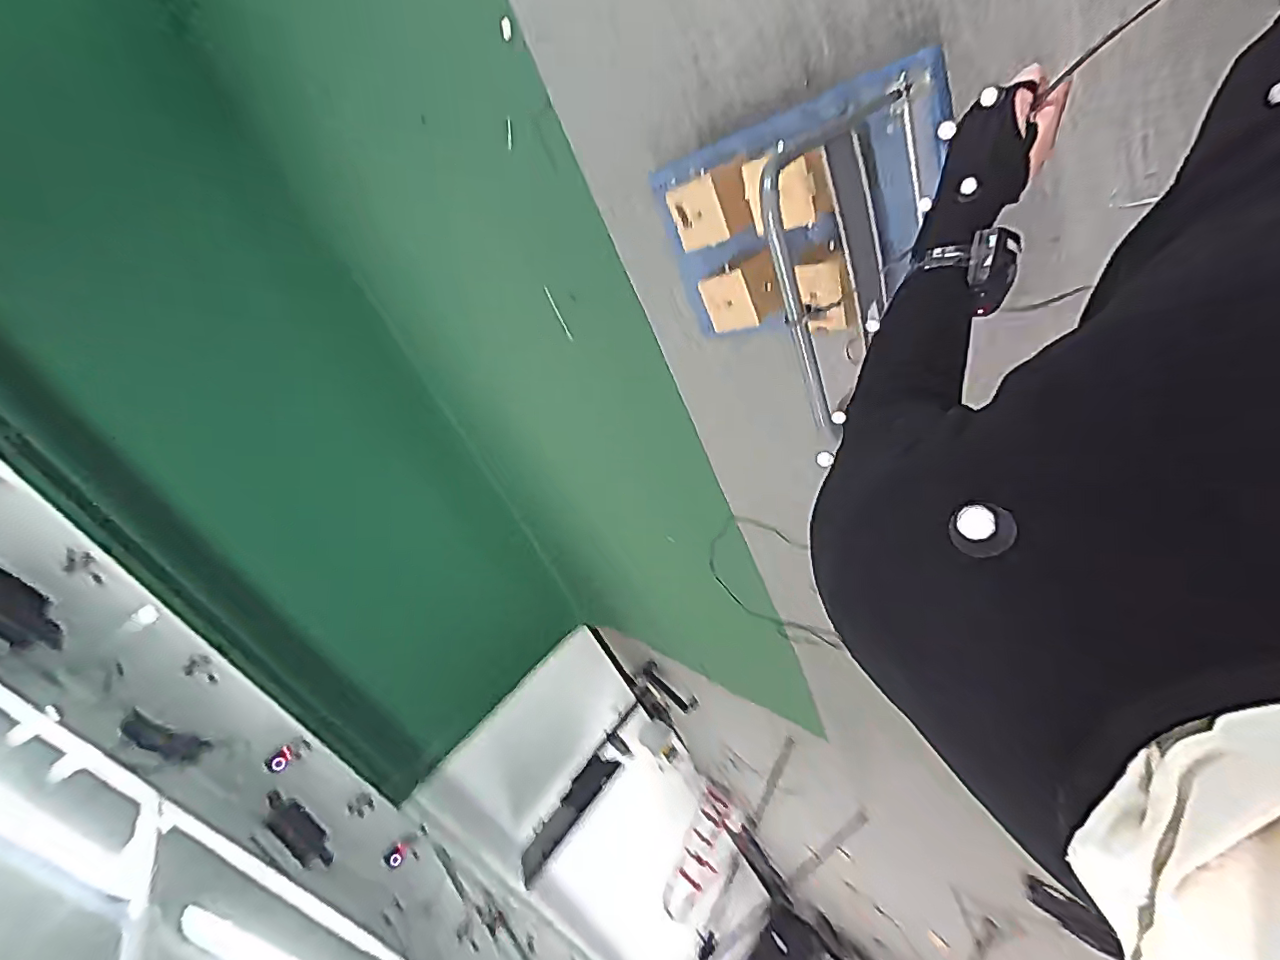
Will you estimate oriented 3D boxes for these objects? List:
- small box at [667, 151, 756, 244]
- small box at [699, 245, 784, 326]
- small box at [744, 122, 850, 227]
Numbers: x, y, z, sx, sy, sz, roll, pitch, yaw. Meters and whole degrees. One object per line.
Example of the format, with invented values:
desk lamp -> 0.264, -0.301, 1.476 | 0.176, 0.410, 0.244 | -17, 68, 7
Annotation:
small box -> 0.213, -0.795, 1.527 | 0.179, 0.176, 0.168 | 9, 134, 48
small box -> 0.316, -0.590, 1.644 | 0.179, 0.176, 0.168 | 7, 131, 50
small box -> 0.392, -0.753, 1.339 | 0.179, 0.176, 0.168 | 12, 135, 46
